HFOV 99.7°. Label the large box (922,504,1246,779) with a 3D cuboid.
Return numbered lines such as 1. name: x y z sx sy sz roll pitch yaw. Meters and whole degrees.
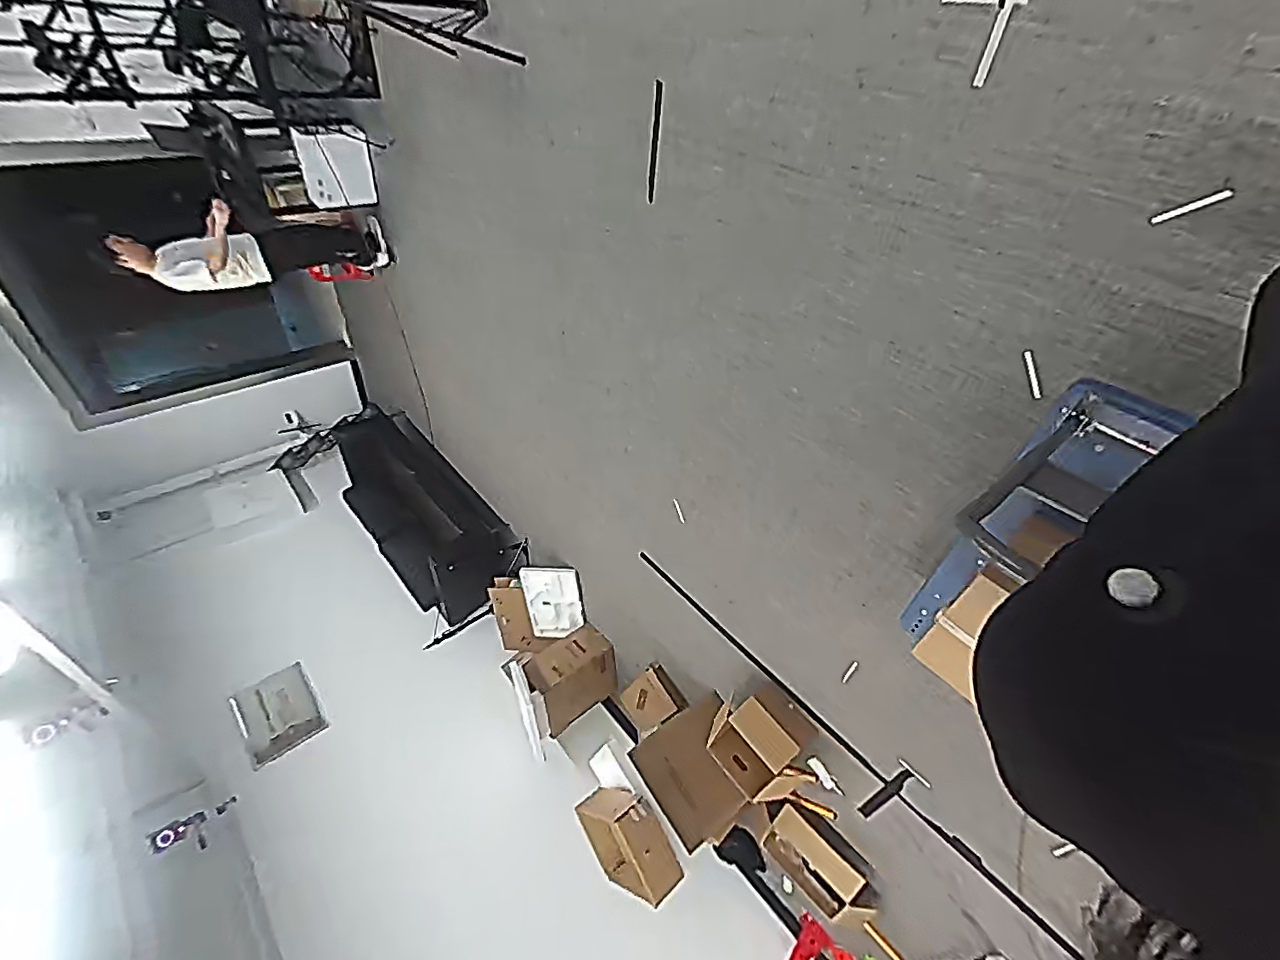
1. large box: 0.921 0.323 1.162 0.408 0.320 0.320 40 141 29
